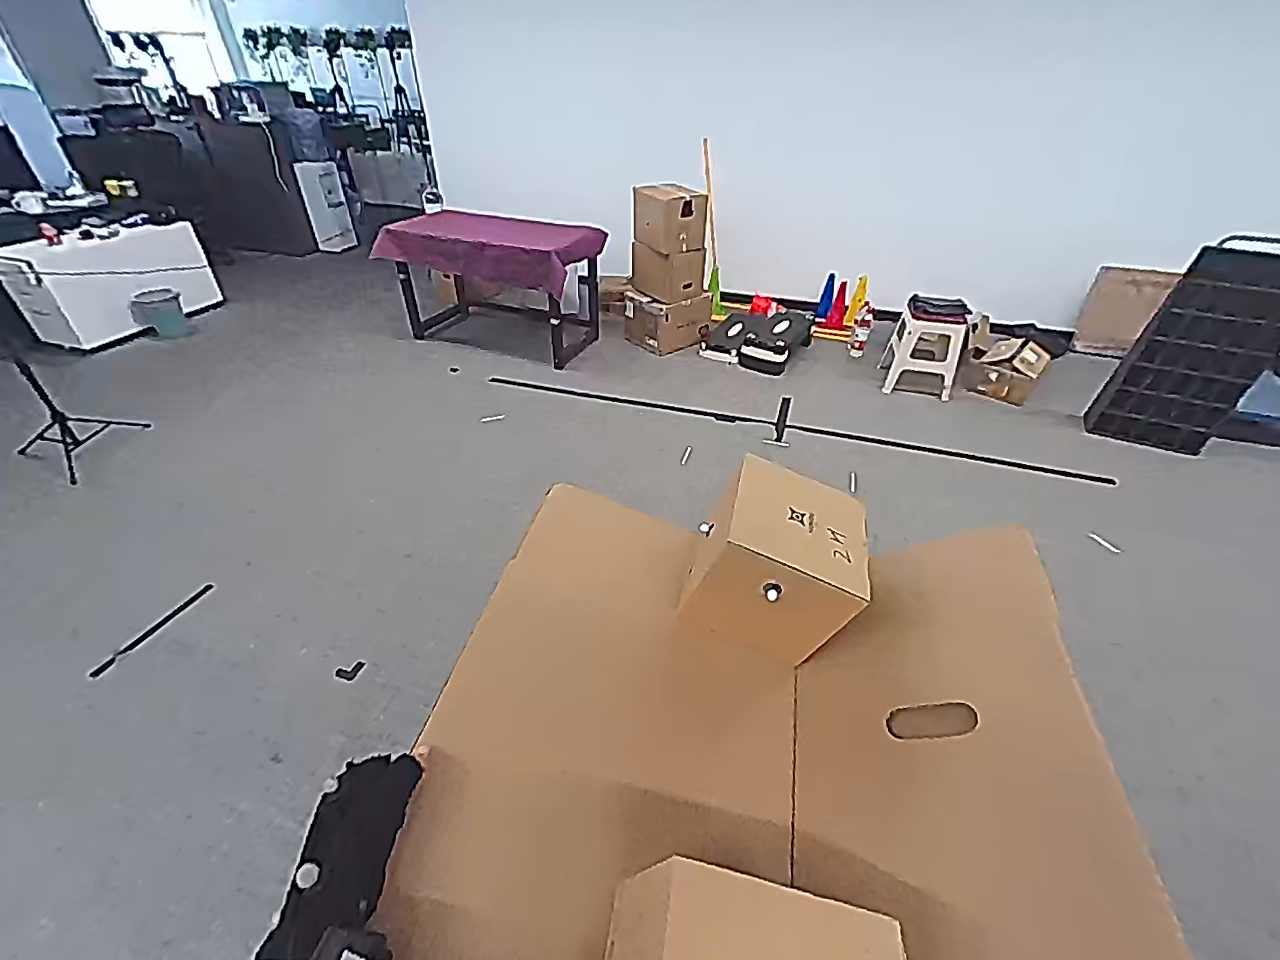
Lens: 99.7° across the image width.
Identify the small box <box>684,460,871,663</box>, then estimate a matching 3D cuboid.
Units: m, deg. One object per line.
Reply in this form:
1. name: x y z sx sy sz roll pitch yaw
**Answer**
1. small box: 0.175 0.111 0.709 0.179 0.176 0.168 25 44 0
